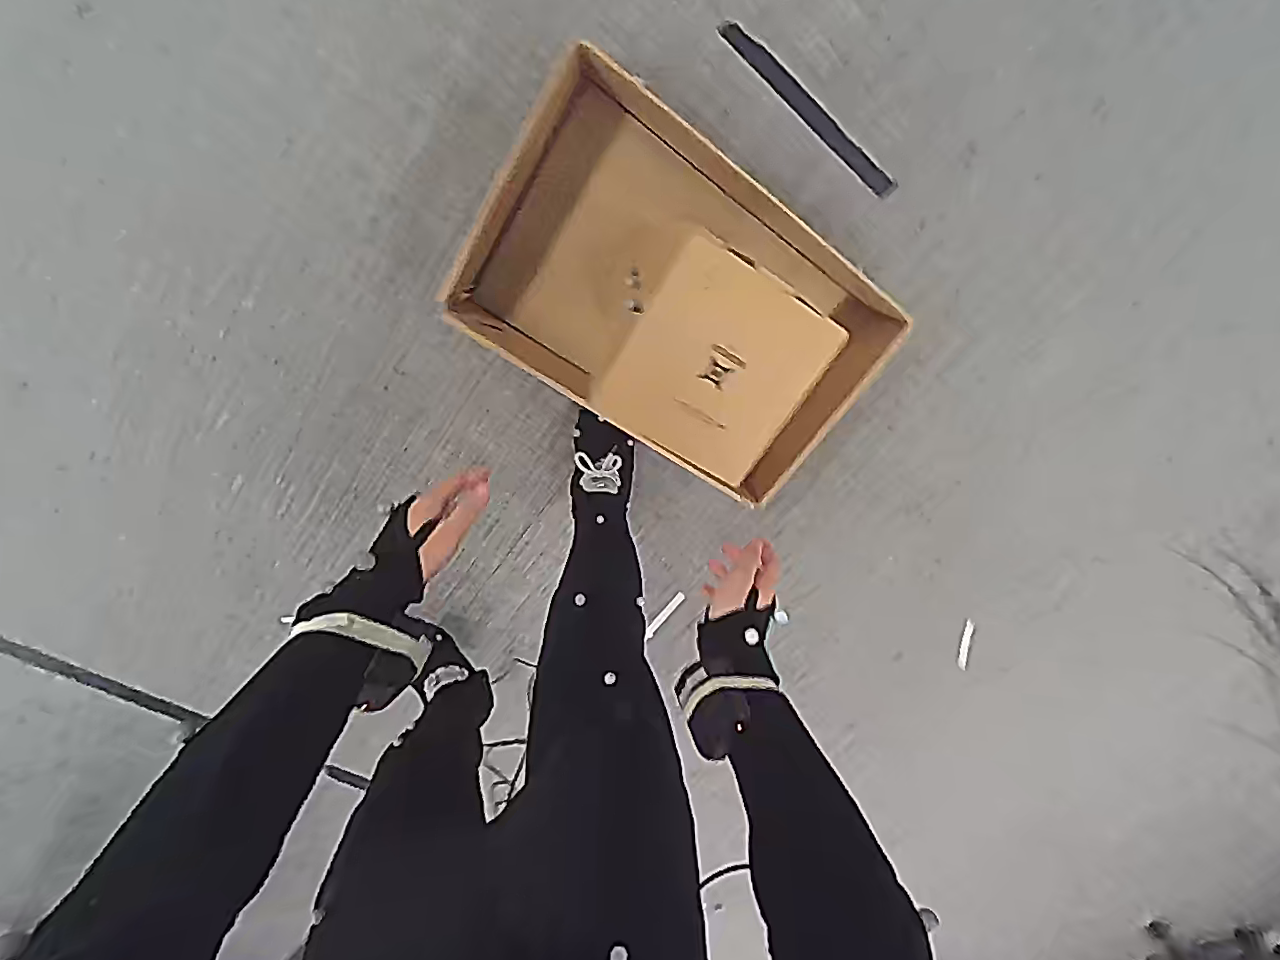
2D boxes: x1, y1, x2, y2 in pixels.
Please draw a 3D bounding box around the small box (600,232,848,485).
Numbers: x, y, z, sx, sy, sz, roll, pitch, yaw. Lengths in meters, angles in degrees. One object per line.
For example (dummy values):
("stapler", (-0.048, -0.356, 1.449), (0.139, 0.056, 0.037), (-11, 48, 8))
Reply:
("small box", (0.069, -0.132, 0.559), (0.168, 0.176, 0.179), (29, 110, -15))
